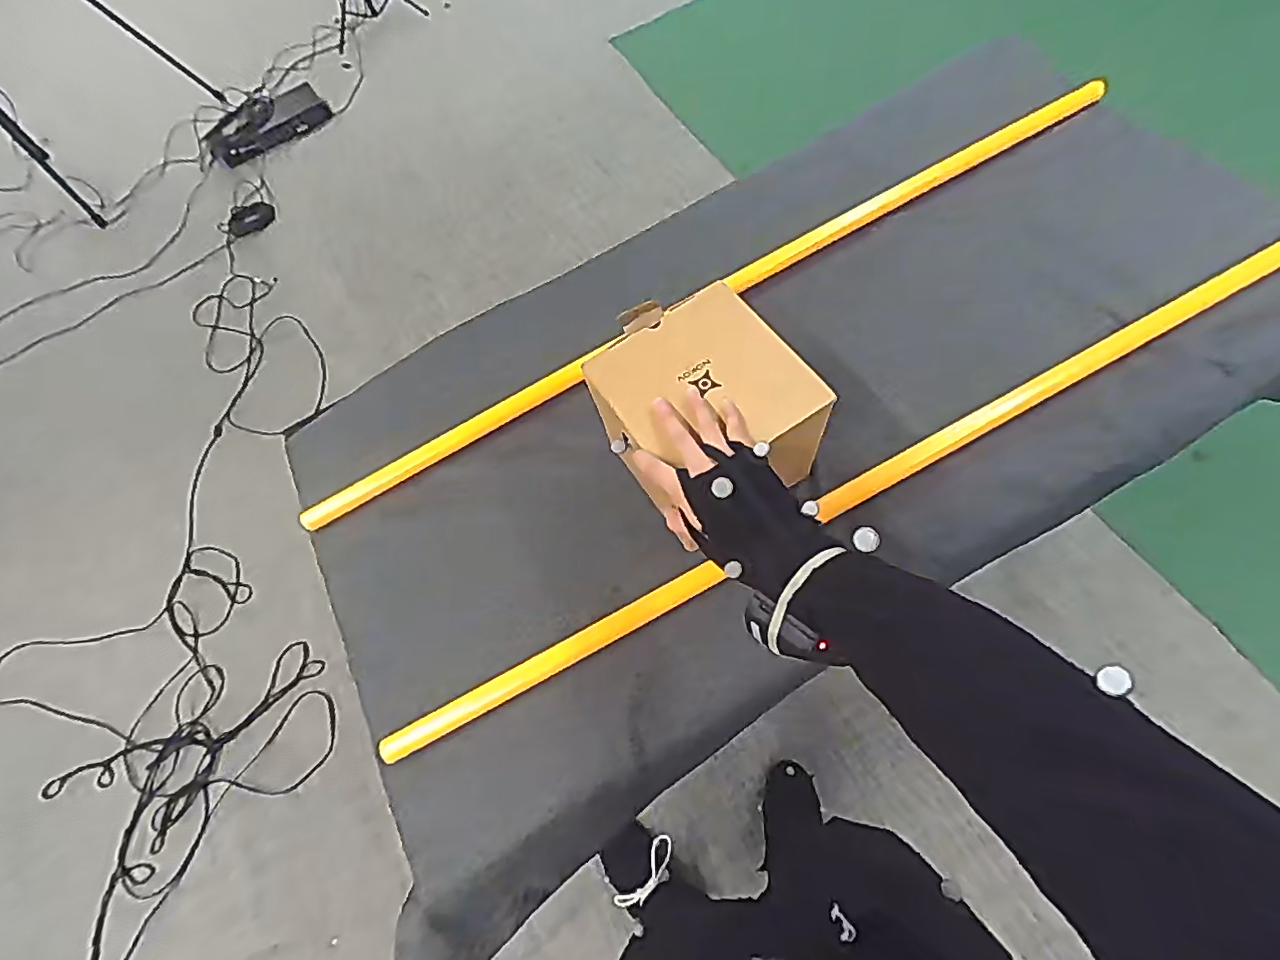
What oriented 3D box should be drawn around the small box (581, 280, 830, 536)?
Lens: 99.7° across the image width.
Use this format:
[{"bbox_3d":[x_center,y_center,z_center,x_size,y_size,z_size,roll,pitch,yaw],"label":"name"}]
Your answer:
[{"bbox_3d":[0.067,-0.060,0.564,0.168,0.176,0.179,-33,65,-5],"label":"small box"}]
